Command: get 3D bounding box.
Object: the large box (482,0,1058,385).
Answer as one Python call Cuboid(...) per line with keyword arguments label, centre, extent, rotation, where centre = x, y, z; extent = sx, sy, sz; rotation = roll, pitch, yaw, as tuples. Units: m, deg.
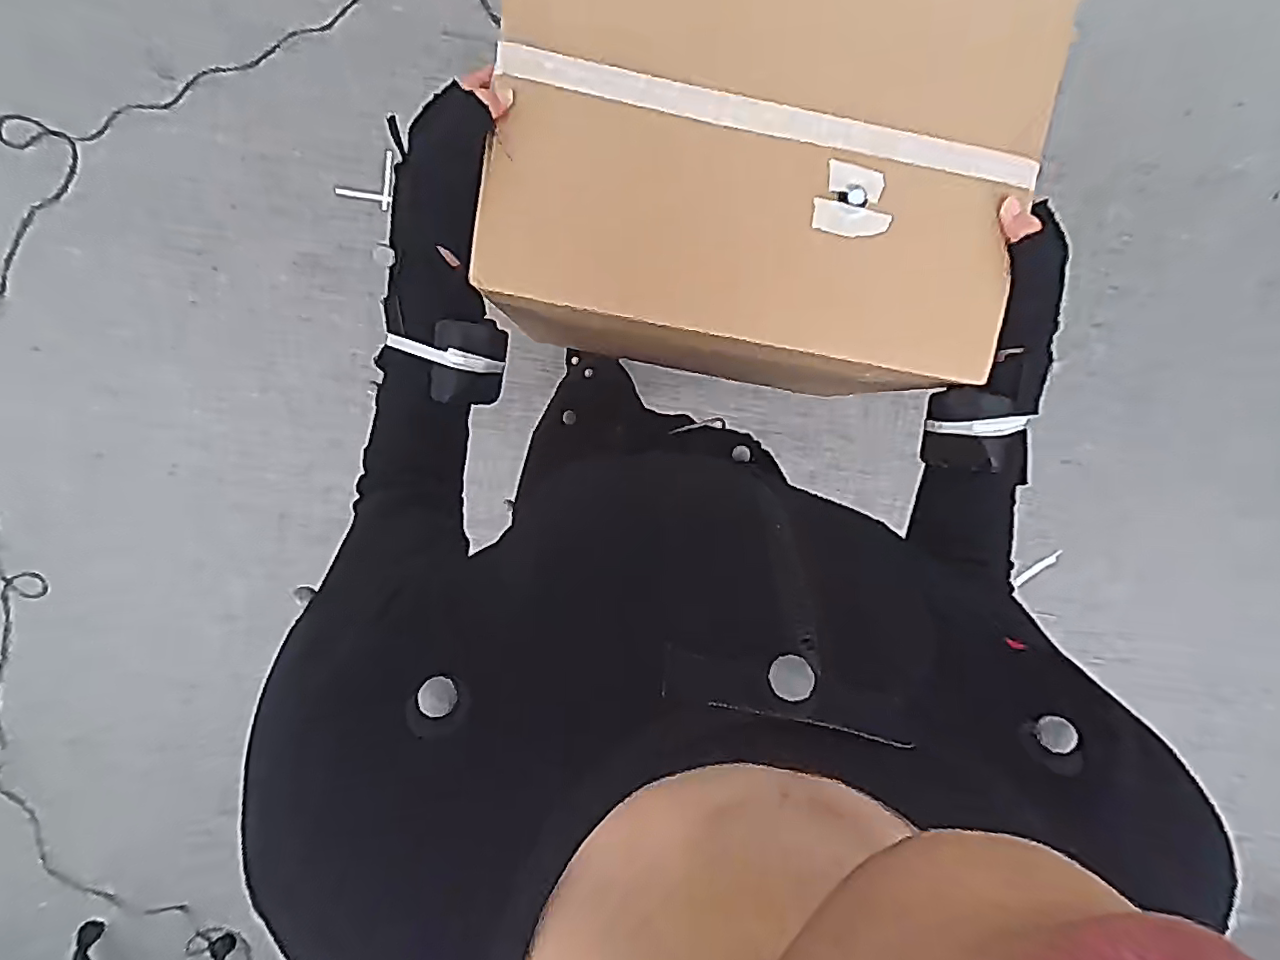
Cuboid(label="large box", centre=(0.087, -0.286, 0.551), extent=(0.408, 0.320, 0.320), rotation=(10, 98, -5))
